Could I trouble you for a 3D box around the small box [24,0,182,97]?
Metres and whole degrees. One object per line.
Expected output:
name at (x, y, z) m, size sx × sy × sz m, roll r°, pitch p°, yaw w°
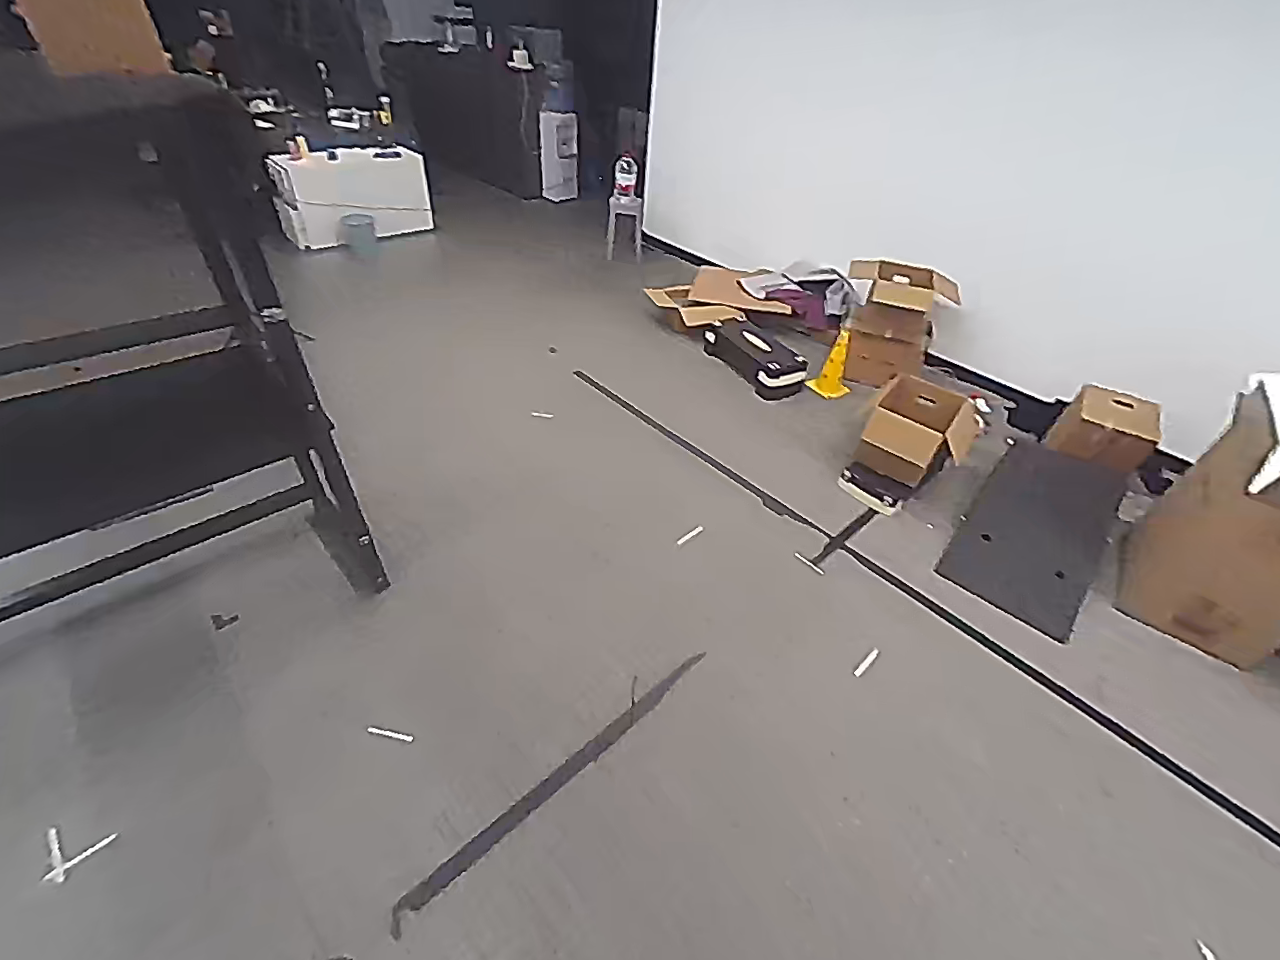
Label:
small box at (-0.966, -0.801, 0.970) m, size 0.168 × 0.176 × 0.179 m, roll -26°, pitch 49°, yaw -30°
